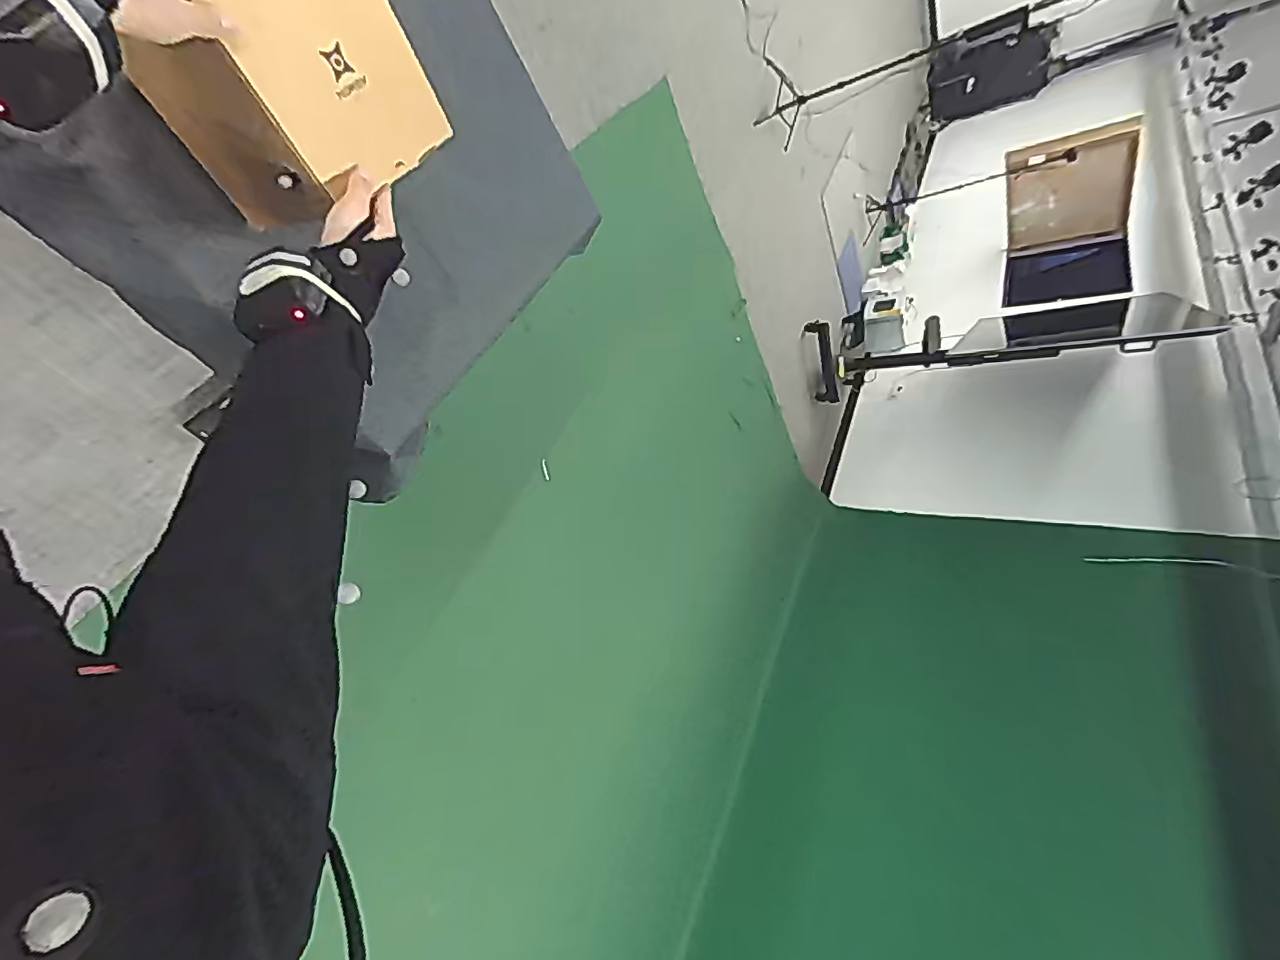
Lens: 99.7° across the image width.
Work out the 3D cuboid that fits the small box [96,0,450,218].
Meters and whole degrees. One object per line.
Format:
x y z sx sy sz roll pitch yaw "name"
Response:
-0.323 -0.365 0.496 0.168 0.176 0.179 -60 146 -28 "small box"
